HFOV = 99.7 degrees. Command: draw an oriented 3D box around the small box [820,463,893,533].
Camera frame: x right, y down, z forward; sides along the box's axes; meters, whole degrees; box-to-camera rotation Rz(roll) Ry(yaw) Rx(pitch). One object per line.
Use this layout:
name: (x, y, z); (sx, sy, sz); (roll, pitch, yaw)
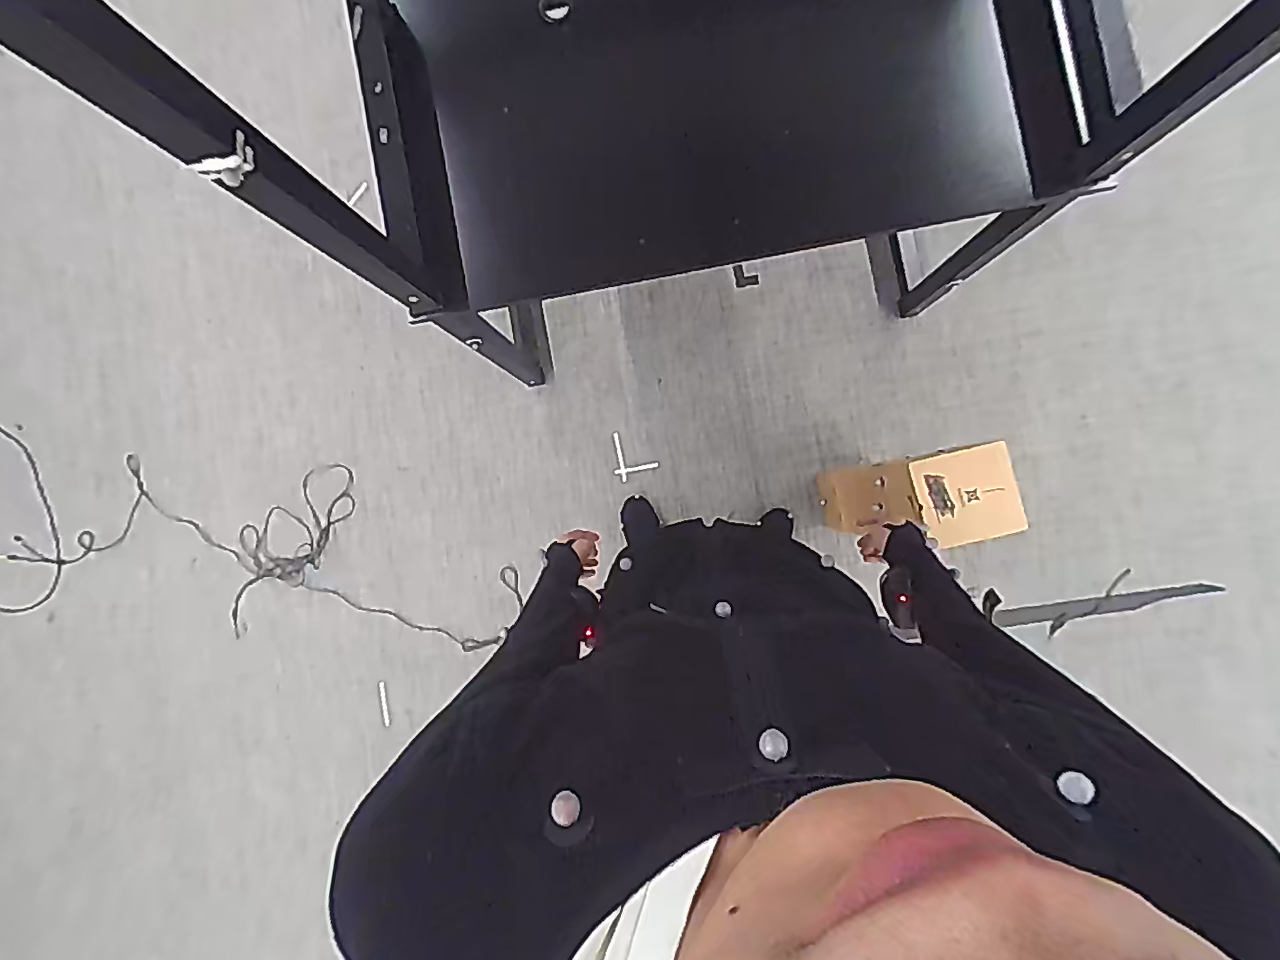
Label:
small box: (0.628, 0.048, 1.519); (0.179, 0.176, 0.168); (-12, 88, 5)

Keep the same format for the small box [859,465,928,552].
small box: (0.606, 0.049, 1.193); (0.168, 0.176, 0.179); (-13, 88, 4)

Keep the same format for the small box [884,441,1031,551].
small box: (0.587, 0.031, 1.030); (0.179, 0.176, 0.168); (-14, 88, 4)
